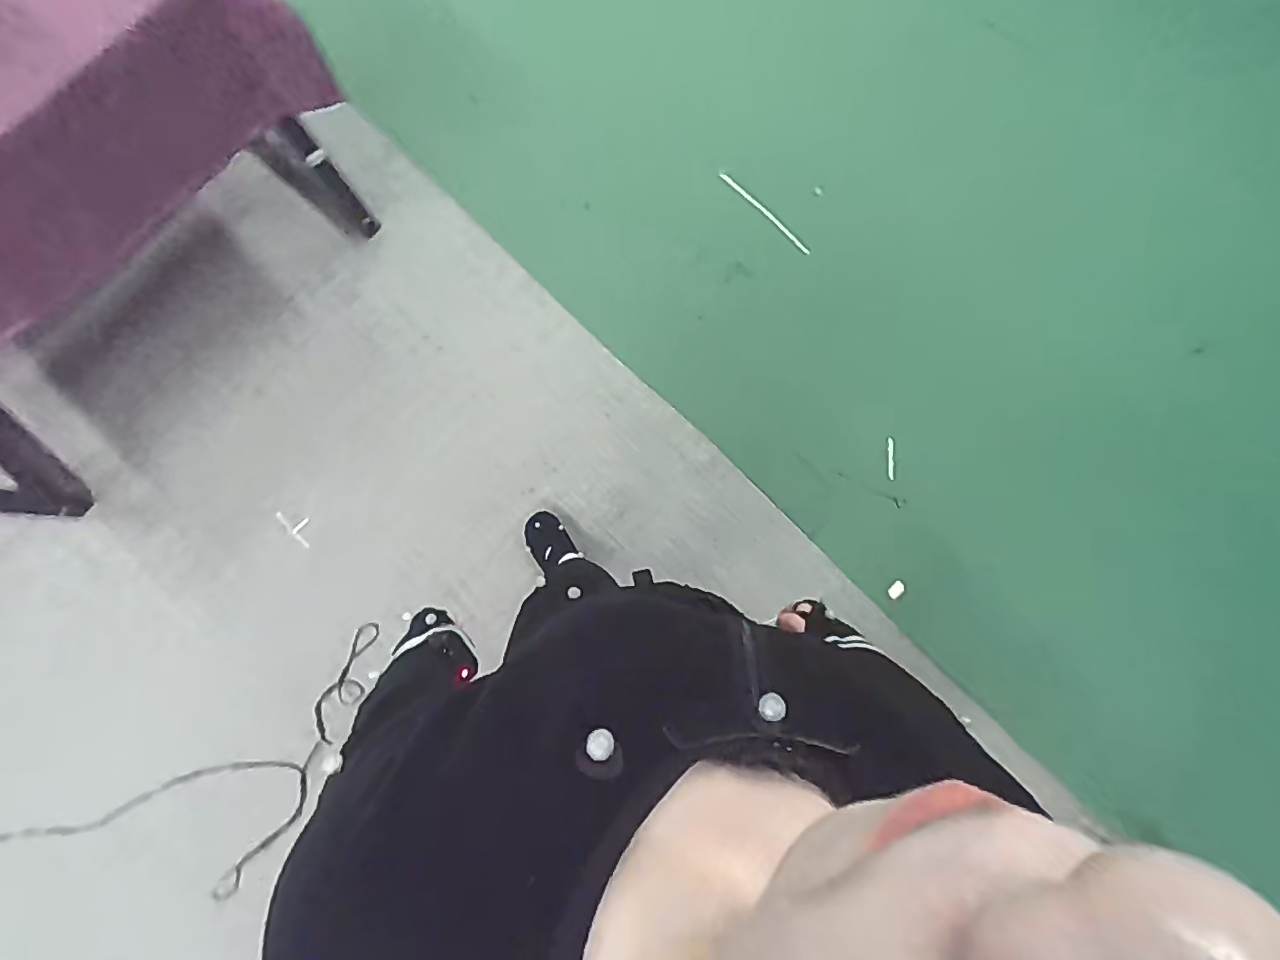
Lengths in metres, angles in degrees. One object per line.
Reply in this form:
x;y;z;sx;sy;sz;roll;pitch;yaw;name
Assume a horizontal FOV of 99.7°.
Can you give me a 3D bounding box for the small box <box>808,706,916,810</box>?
0.464;0.596;1.090;0.168;0.176;0.179;42;82;2;small box
